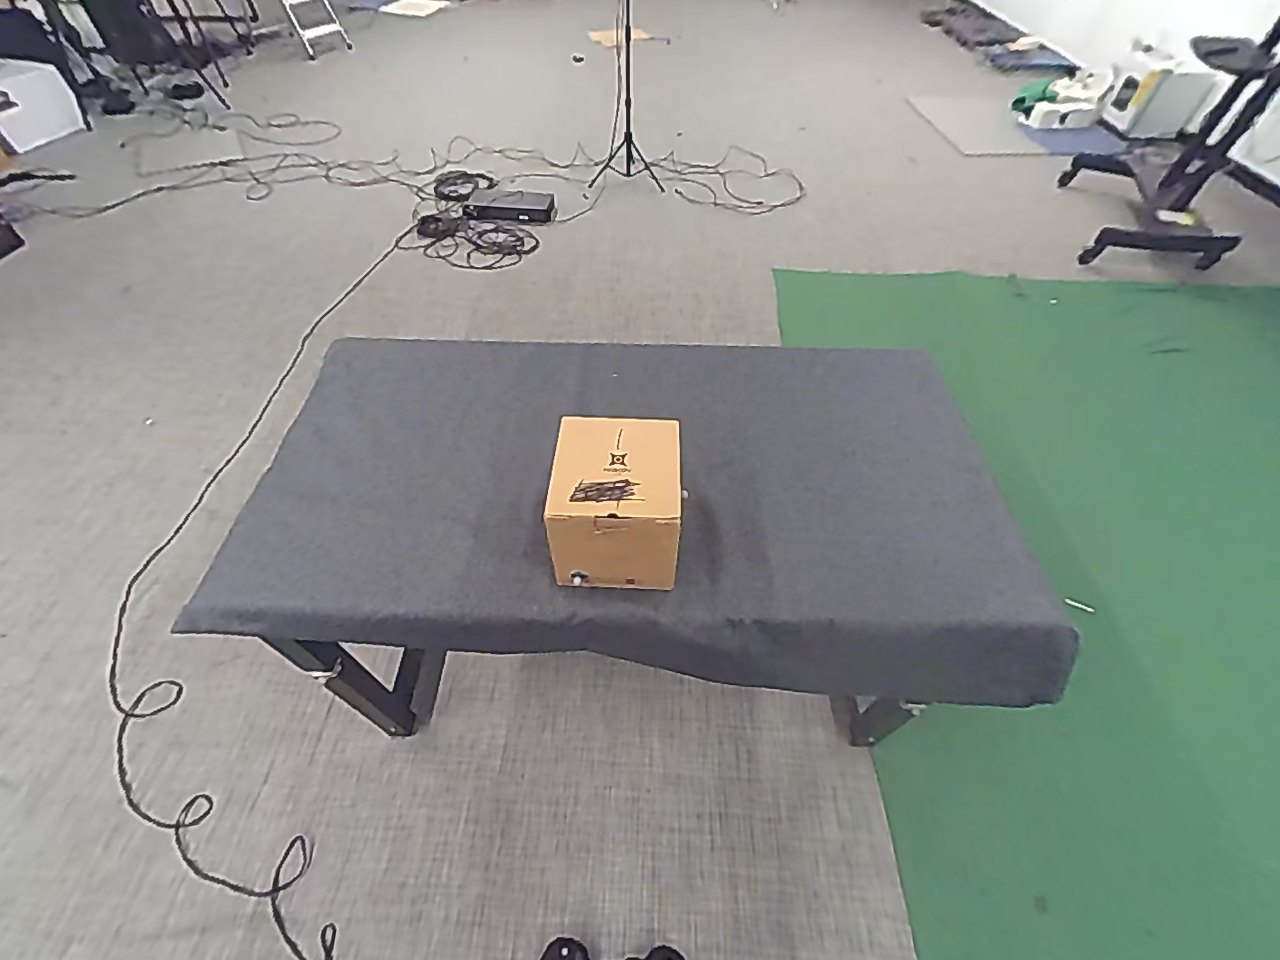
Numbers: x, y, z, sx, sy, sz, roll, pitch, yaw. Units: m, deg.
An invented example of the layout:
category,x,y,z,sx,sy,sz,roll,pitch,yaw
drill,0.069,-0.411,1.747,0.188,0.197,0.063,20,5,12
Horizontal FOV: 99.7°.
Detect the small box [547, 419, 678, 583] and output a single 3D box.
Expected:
category,x,y,z,sx,sy,sz,roll,pitch,yaw
small box,-0.031,0.034,0.778,0.168,0.176,0.179,2,49,1
